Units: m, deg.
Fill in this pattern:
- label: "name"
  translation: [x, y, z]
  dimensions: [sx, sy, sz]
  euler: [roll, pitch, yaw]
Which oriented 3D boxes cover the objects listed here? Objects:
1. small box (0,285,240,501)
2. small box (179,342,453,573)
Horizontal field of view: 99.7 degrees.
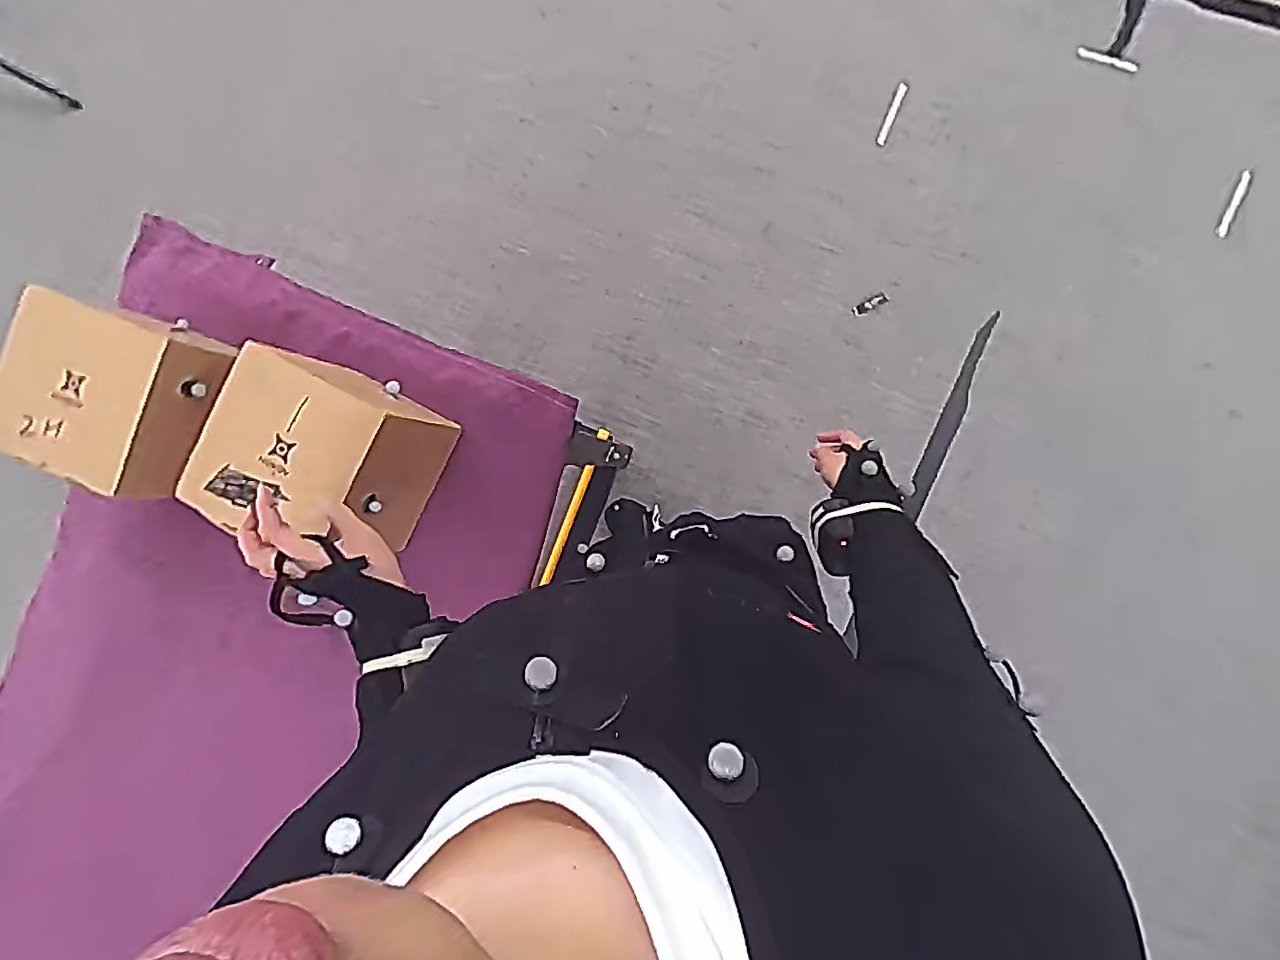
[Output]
- label: "small box"
  translation: [-0.565, -0.089, 0.623]
  dimensions: [0.168, 0.176, 0.179]
  euler: [21, 93, 4]
- label: "small box"
  translation: [-0.340, -0.023, 0.603]
  dimensions: [0.168, 0.176, 0.179]
  euler: [27, 93, 6]
